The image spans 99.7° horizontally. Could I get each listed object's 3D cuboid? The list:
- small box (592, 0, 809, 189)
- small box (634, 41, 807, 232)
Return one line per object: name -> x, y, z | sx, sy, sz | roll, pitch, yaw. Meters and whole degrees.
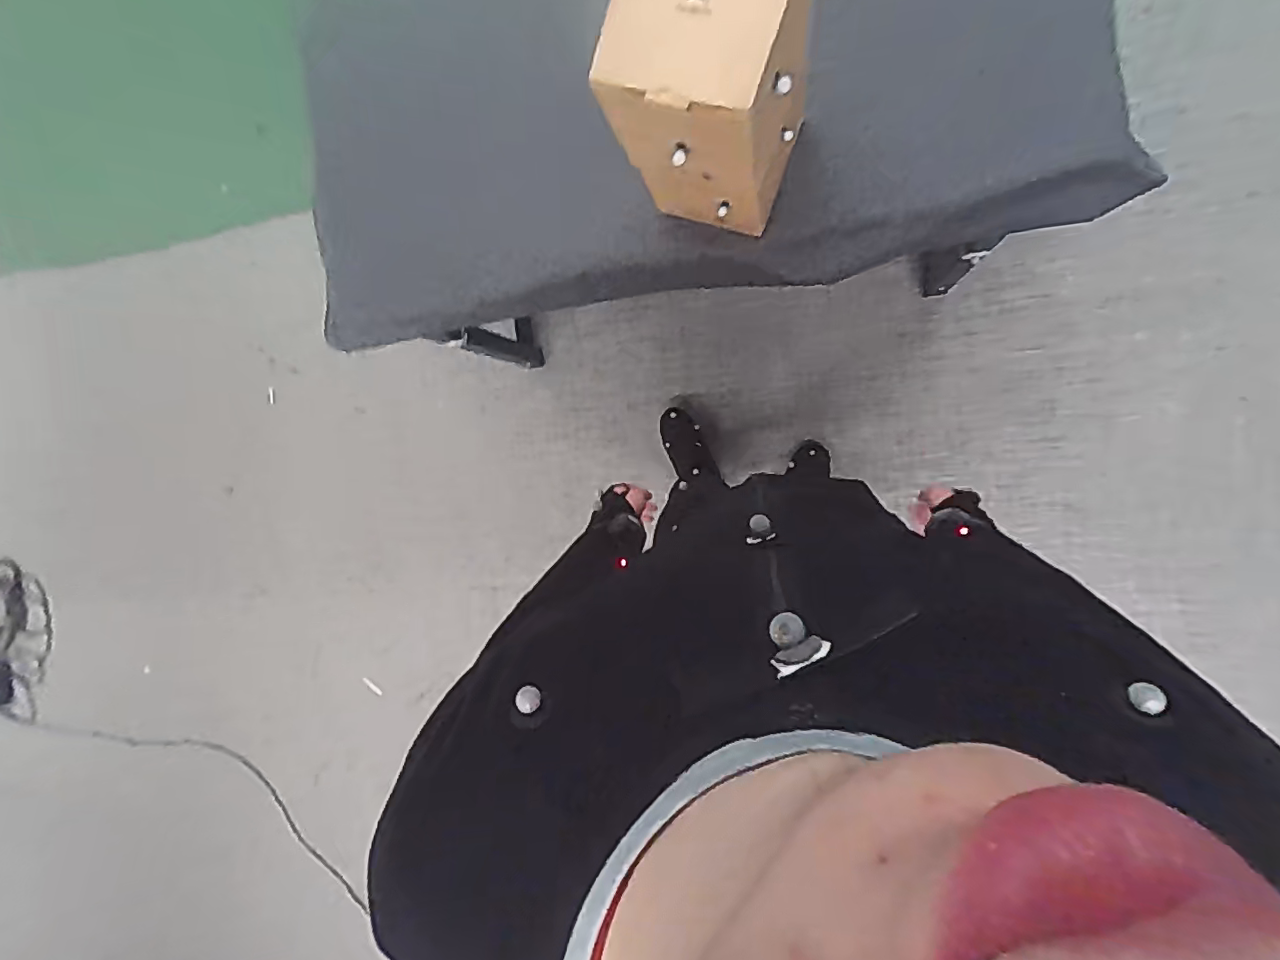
small box -> 0.073, -0.439, 0.568 | 0.168, 0.176, 0.179 | 21, 100, 11
small box -> 0.112, -0.462, 0.726 | 0.168, 0.176, 0.179 | 21, 98, 11
